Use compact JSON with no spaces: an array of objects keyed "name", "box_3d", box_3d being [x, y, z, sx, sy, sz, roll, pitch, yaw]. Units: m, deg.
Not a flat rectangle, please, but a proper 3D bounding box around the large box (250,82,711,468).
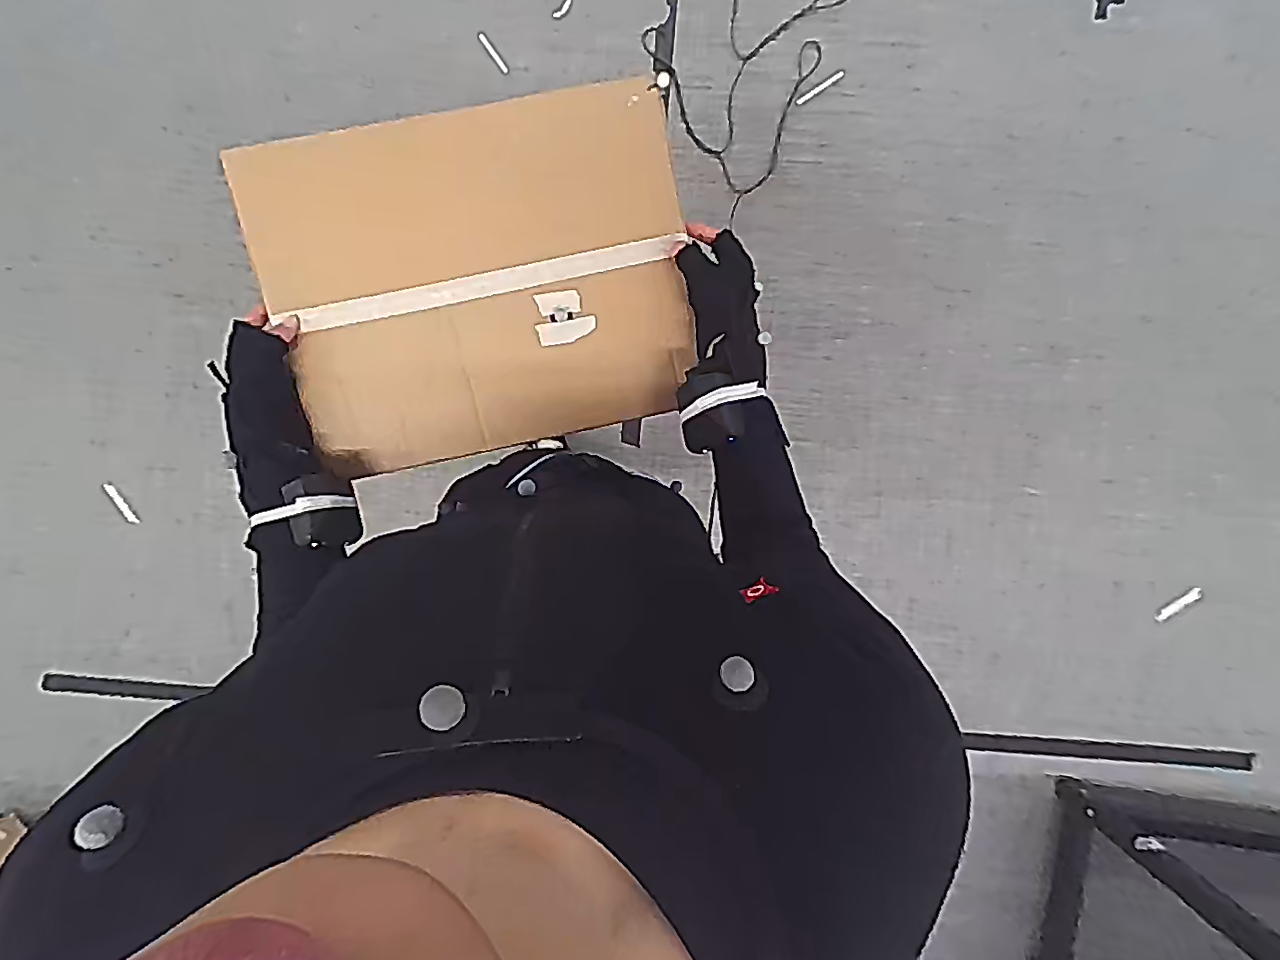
[{"name":"large box","box_3d":[-0.160,-0.221,0.686,0.408,0.320,0.320,-12,100,-4]}]
